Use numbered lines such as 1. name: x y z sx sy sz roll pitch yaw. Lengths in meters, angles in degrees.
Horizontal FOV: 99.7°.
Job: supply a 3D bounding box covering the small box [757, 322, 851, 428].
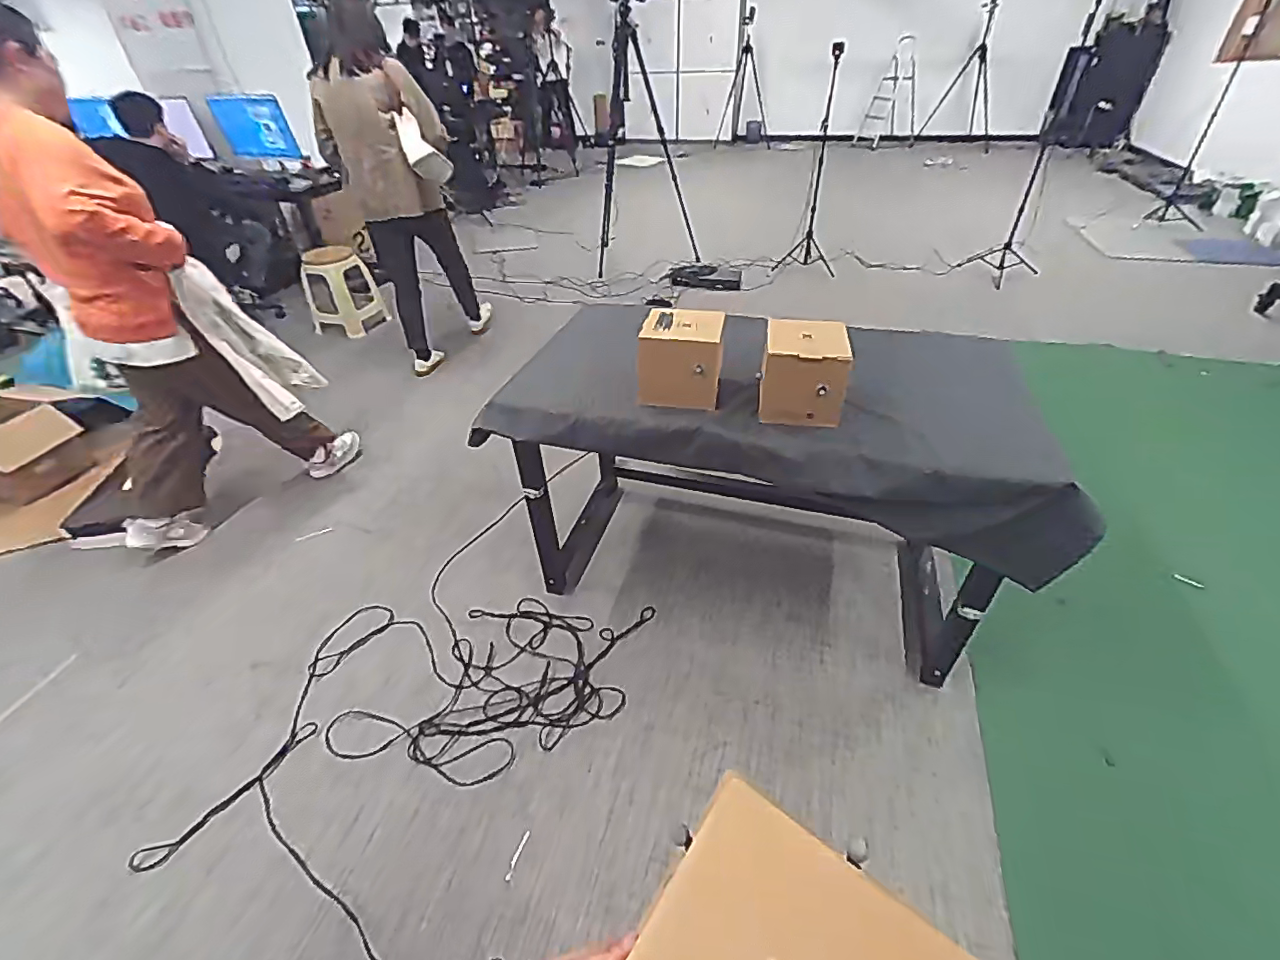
1. small box: 0.349 -0.227 1.174 0.168 0.176 0.179 6 38 8
